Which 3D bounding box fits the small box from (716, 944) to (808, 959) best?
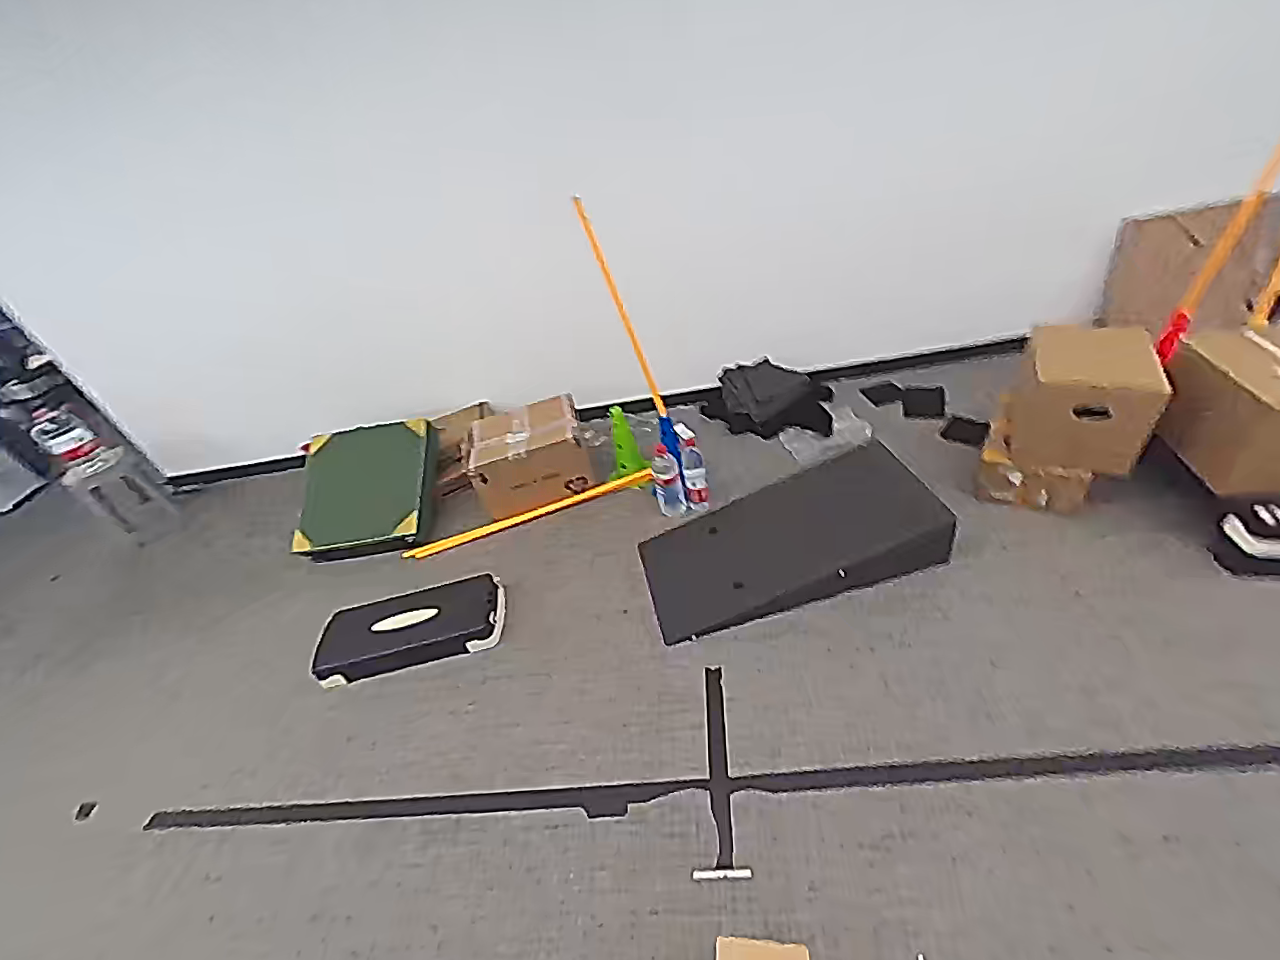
[{"bbox_3d":[0.231,0.995,1.000,0.179,0.176,0.168,-3,39,13],"label":"small box"}]
